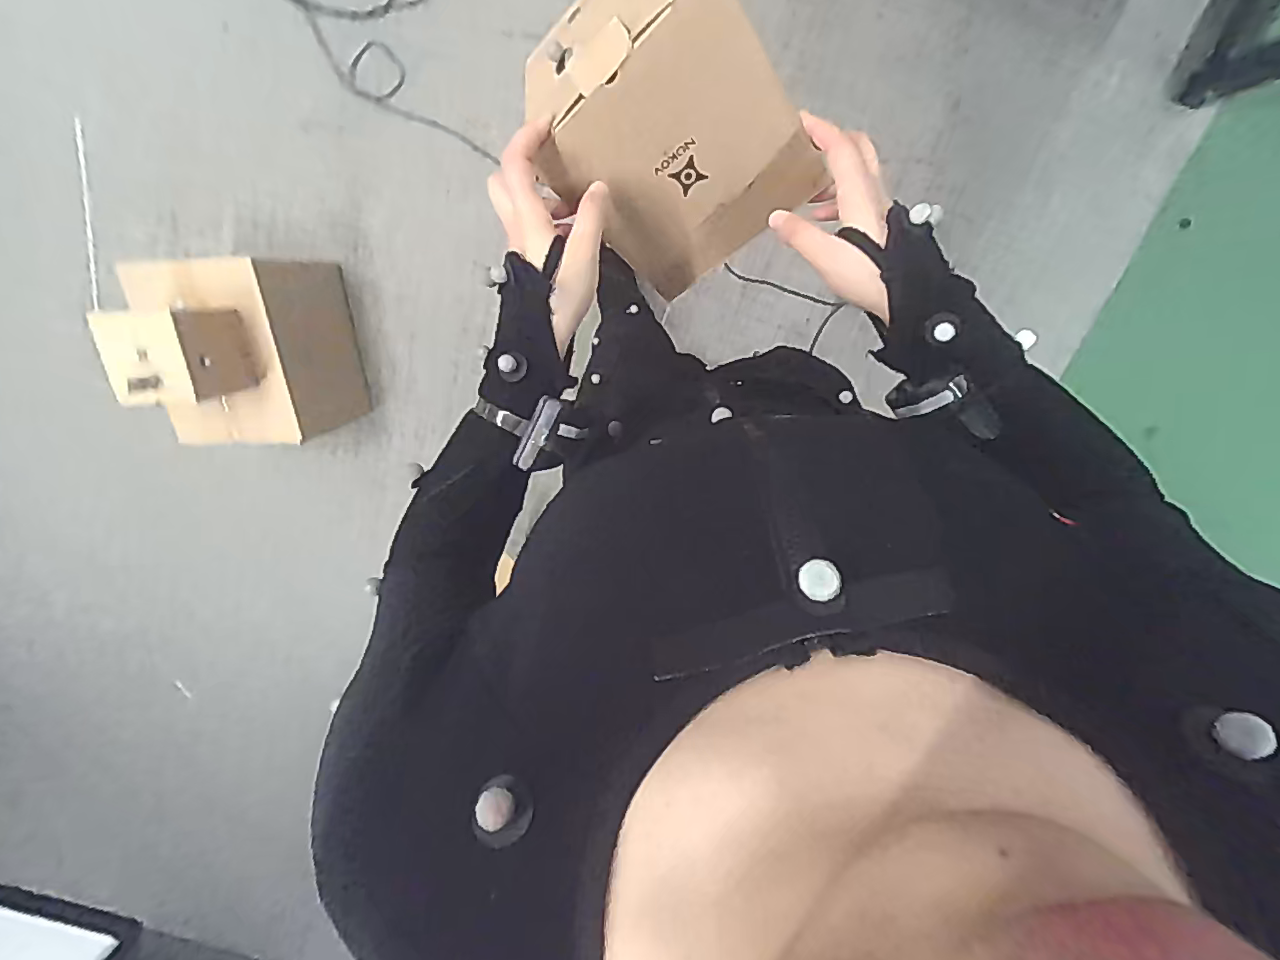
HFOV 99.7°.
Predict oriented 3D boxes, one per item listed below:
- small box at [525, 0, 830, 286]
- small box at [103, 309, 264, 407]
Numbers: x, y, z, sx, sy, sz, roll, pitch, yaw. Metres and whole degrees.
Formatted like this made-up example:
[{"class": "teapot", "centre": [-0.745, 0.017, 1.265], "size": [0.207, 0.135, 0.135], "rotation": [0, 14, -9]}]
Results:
[{"class": "small box", "centre": [0.025, -0.309, 0.445], "size": [0.168, 0.176, 0.179], "rotation": [-28, 142, 31]}, {"class": "small box", "centre": [-0.929, -0.256, 1.121], "size": [0.168, 0.176, 0.179], "rotation": [-1, 109, 4]}]
